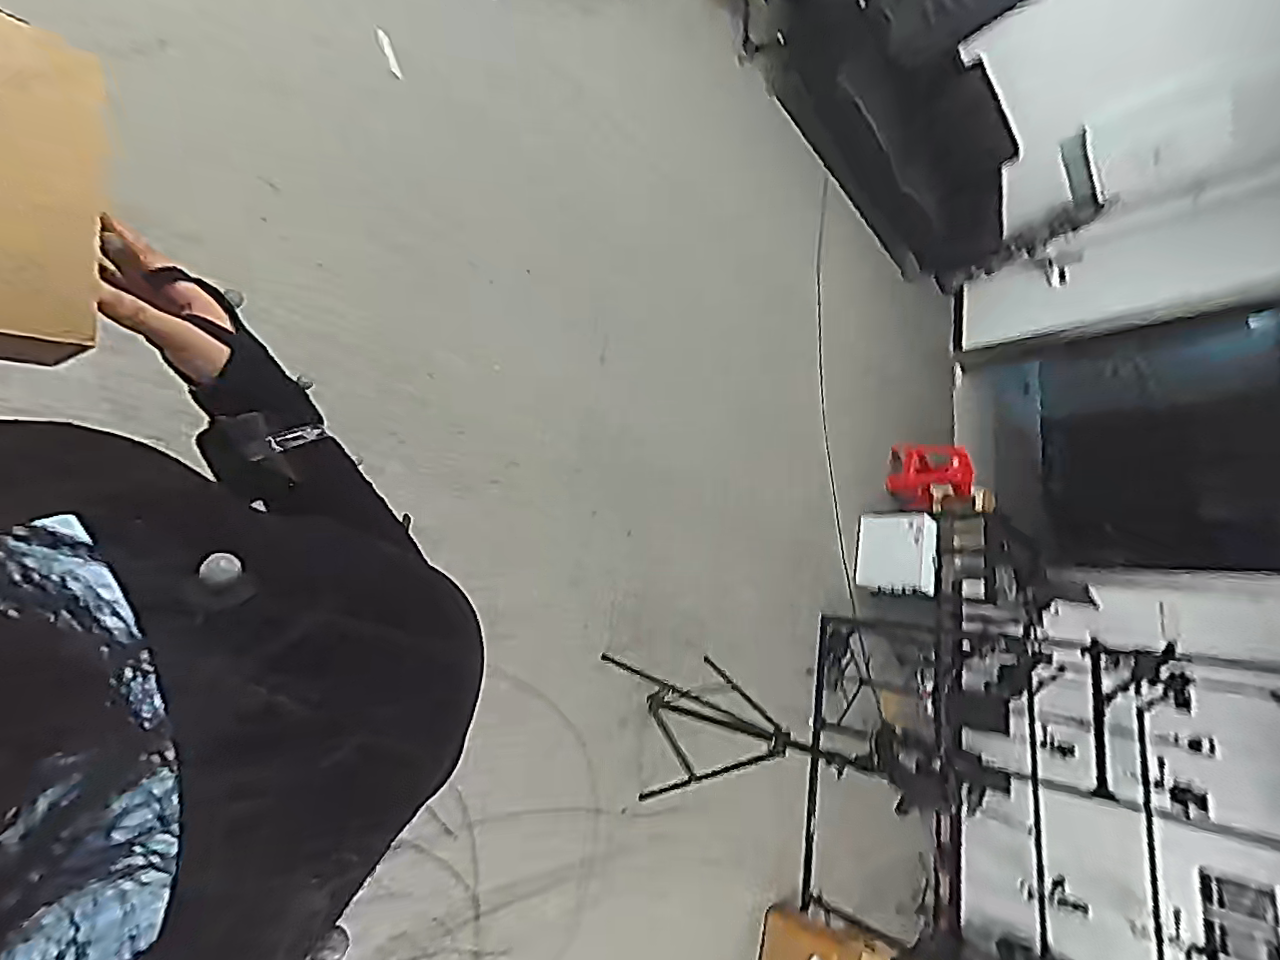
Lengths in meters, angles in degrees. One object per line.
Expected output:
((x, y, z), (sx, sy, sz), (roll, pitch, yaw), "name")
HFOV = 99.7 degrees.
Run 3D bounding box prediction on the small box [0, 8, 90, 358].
((-0.439, -0.171, 0.300), (0.168, 0.176, 0.179), (1, 92, -54), "small box")
